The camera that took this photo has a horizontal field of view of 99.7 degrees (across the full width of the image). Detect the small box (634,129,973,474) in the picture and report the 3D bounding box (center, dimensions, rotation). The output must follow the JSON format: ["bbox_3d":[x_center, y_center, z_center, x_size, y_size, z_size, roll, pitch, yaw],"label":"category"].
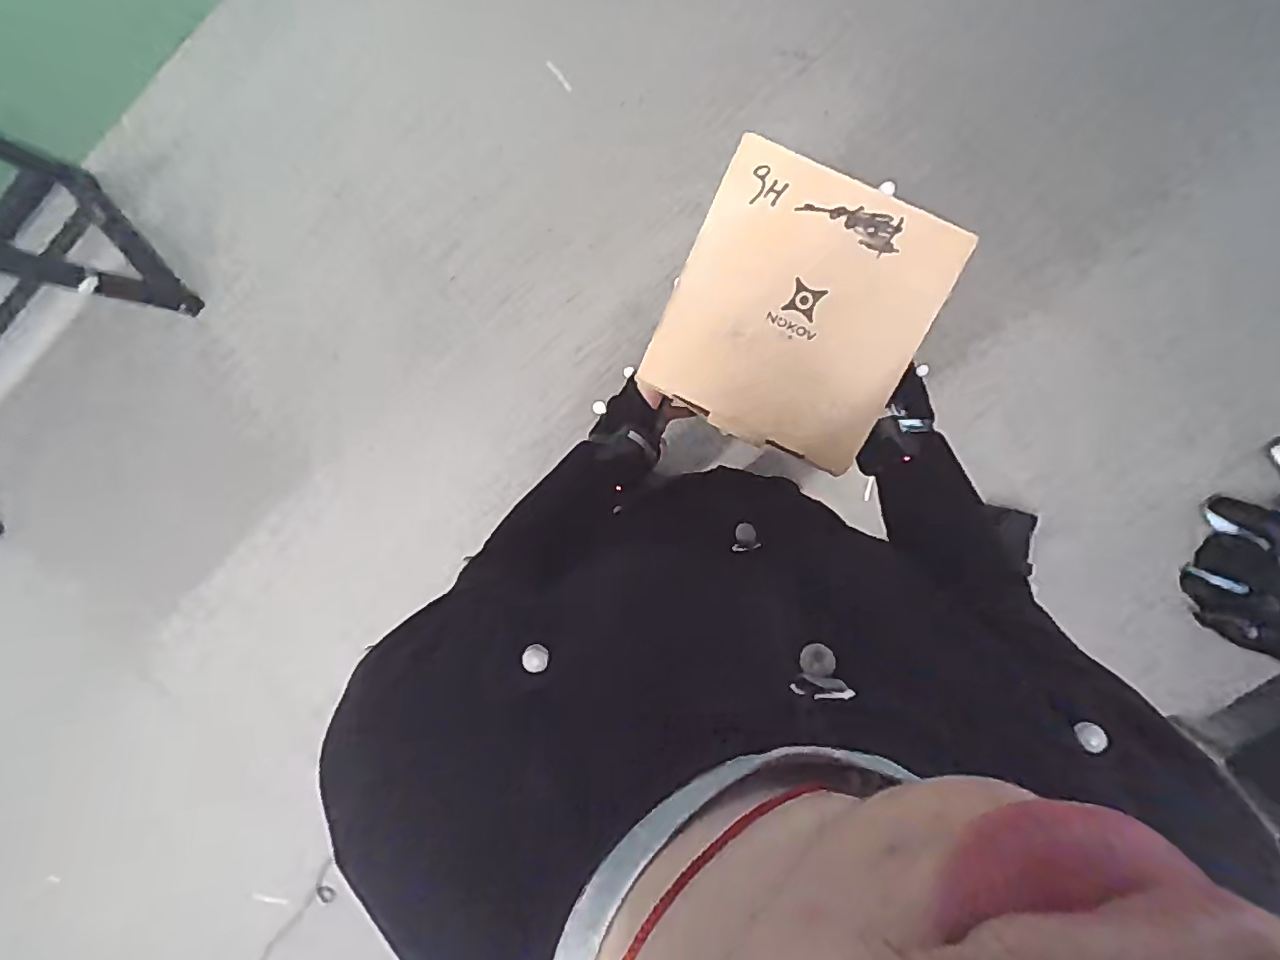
[{"bbox_3d":[0.114,-0.130,0.439,0.168,0.176,0.179,26,104,2],"label":"small box"}]
